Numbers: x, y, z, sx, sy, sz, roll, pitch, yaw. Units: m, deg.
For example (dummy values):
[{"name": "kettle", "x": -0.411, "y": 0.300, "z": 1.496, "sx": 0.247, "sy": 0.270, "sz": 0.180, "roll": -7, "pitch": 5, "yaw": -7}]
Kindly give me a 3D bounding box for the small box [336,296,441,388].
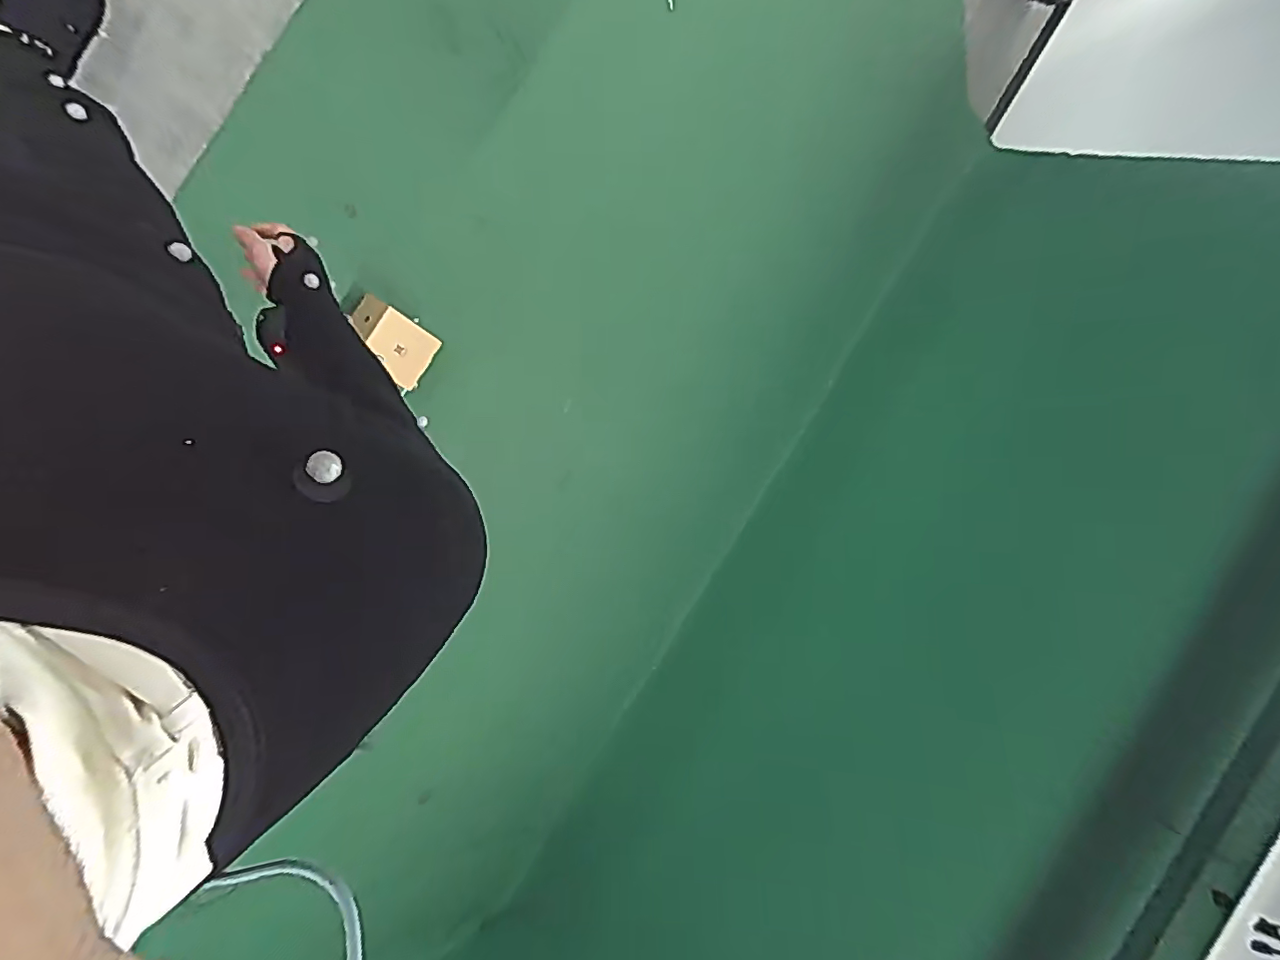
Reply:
[{"name": "small box", "x": -0.696, "y": -0.385, "z": 1.487, "sx": 0.168, "sy": 0.176, "sz": 0.179, "roll": -58, "pitch": 143, "yaw": -2}]
